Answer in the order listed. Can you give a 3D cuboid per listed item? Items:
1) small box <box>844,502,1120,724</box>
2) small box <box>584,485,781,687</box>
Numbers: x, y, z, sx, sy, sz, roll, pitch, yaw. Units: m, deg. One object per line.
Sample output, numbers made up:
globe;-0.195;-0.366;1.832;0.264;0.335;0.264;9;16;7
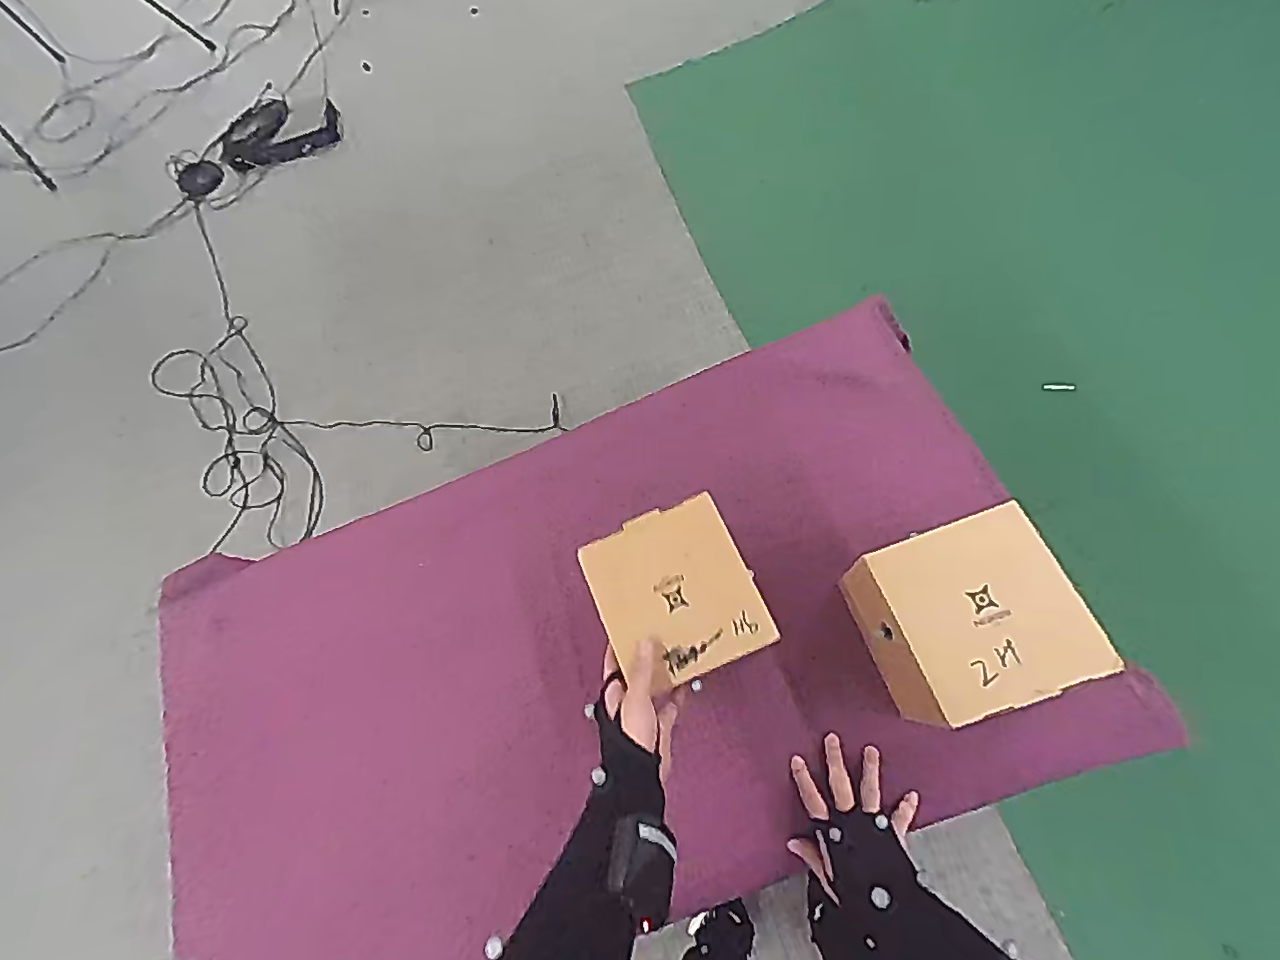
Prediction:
small box;0.346;0.151;0.596;0.168;0.176;0.179;-21;68;4
small box;0.051;0.136;0.655;0.168;0.176;0.179;-24;68;1
